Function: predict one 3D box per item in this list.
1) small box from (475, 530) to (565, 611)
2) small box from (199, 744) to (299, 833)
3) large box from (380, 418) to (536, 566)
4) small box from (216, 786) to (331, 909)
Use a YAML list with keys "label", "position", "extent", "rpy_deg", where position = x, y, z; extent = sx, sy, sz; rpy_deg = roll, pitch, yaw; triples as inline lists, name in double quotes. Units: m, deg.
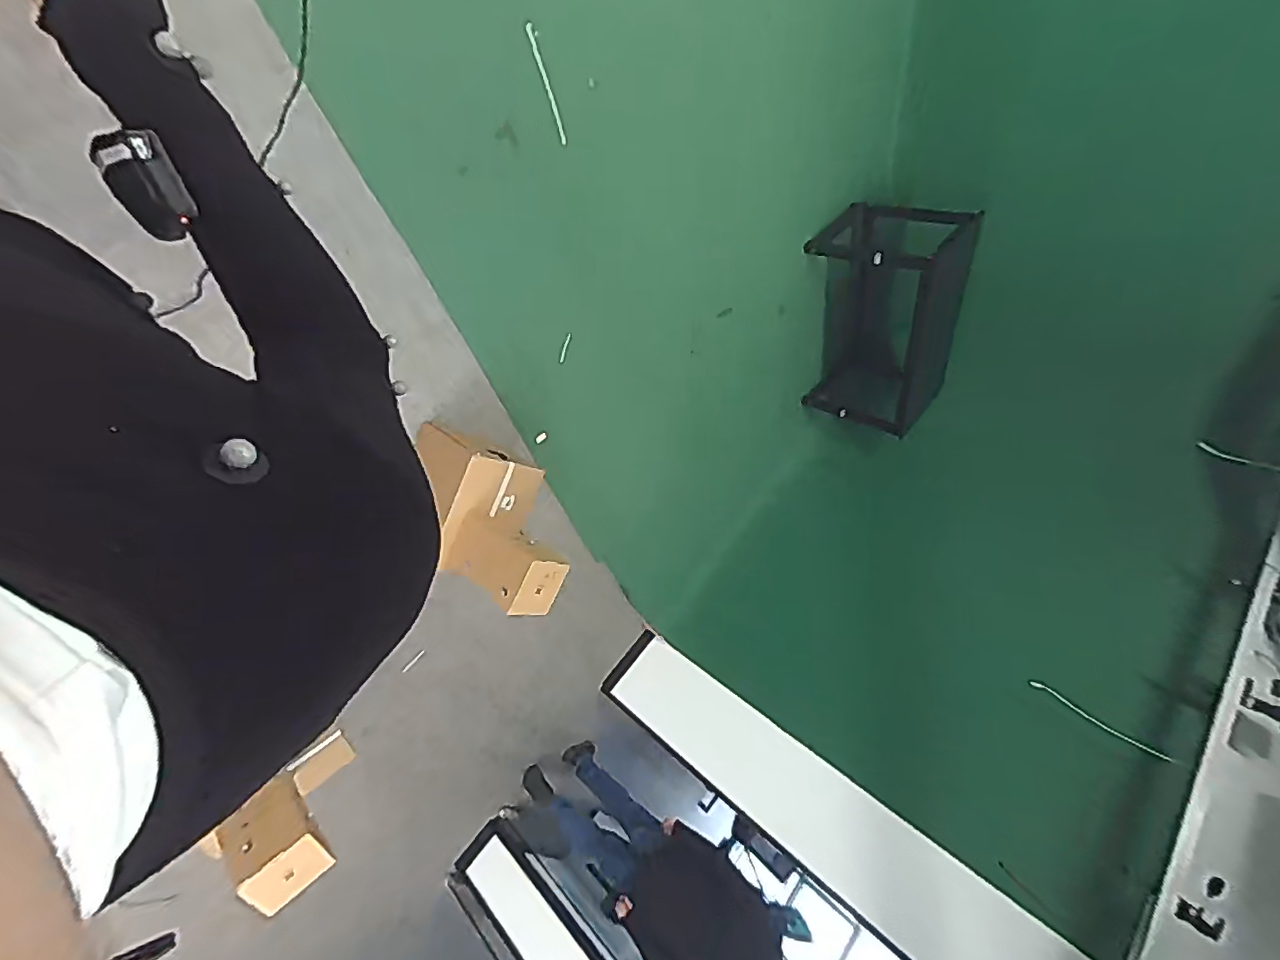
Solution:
- label: "small box"
  position: [-0.365, 0.272, 1.619]
  extent: [0.168, 0.176, 0.179]
  rpy_deg: [22, 95, -56]
- label: "small box"
  position: [-1.043, 0.858, 1.459]
  extent: [0.168, 0.176, 0.179]
  rpy_deg: [-31, 134, -36]
- label: "large box"
  position: [-0.626, 0.048, 1.855]
  extent: [0.320, 0.320, 0.408]
  rpy_deg: [14, 101, -56]
- label: "small box"
  position: [-0.924, 0.915, 1.363]
  extent: [0.168, 0.176, 0.179]
  rpy_deg: [-32, 136, -34]
